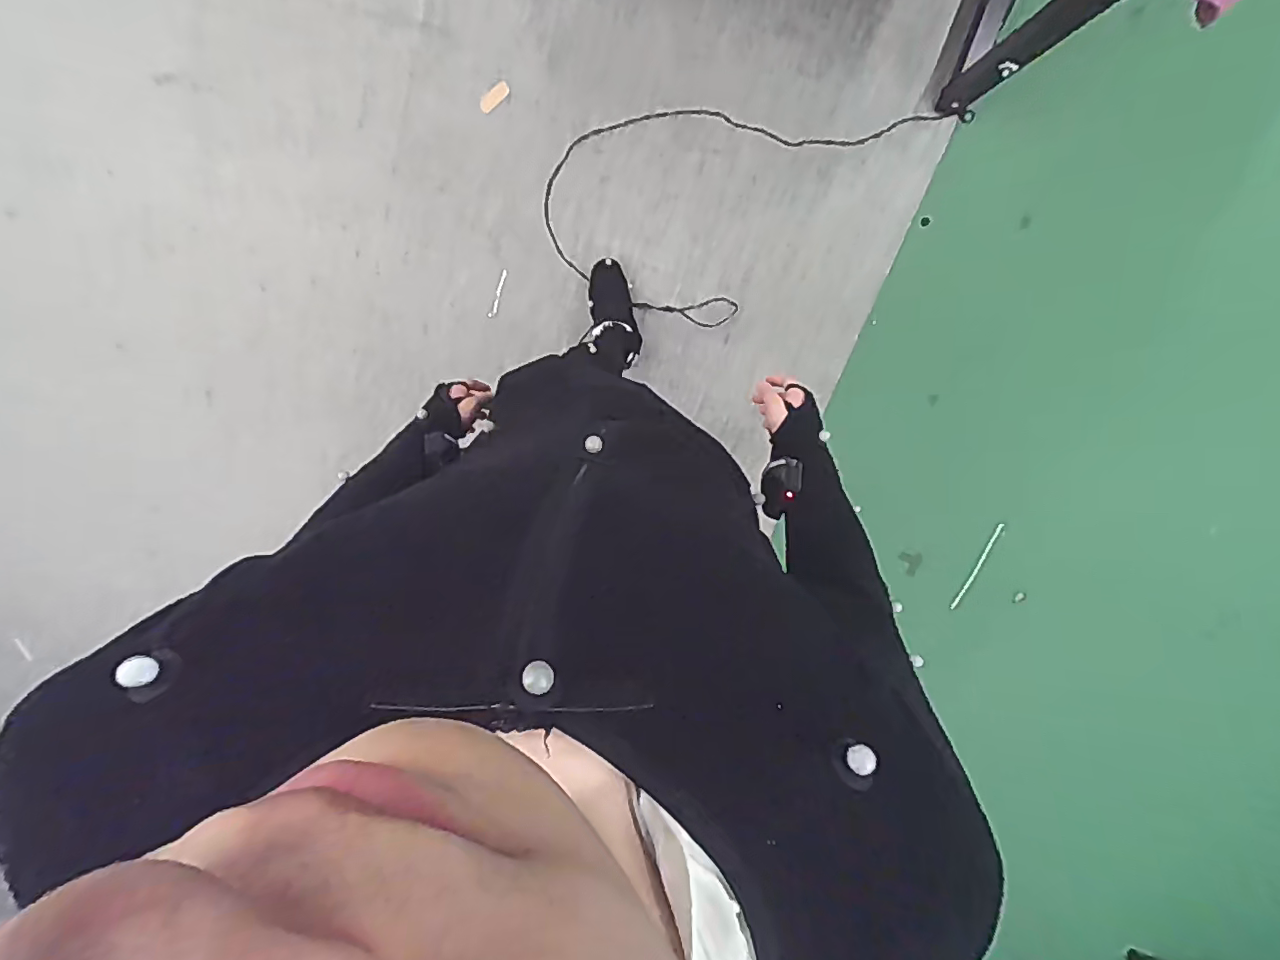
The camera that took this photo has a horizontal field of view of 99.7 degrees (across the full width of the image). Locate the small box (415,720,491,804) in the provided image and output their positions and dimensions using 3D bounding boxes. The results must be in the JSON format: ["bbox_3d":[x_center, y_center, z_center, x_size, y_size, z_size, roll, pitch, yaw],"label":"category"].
[{"bbox_3d":[-0.639,0.961,1.859,0.179,0.176,0.168,21,107,-5],"label":"small box"}]
